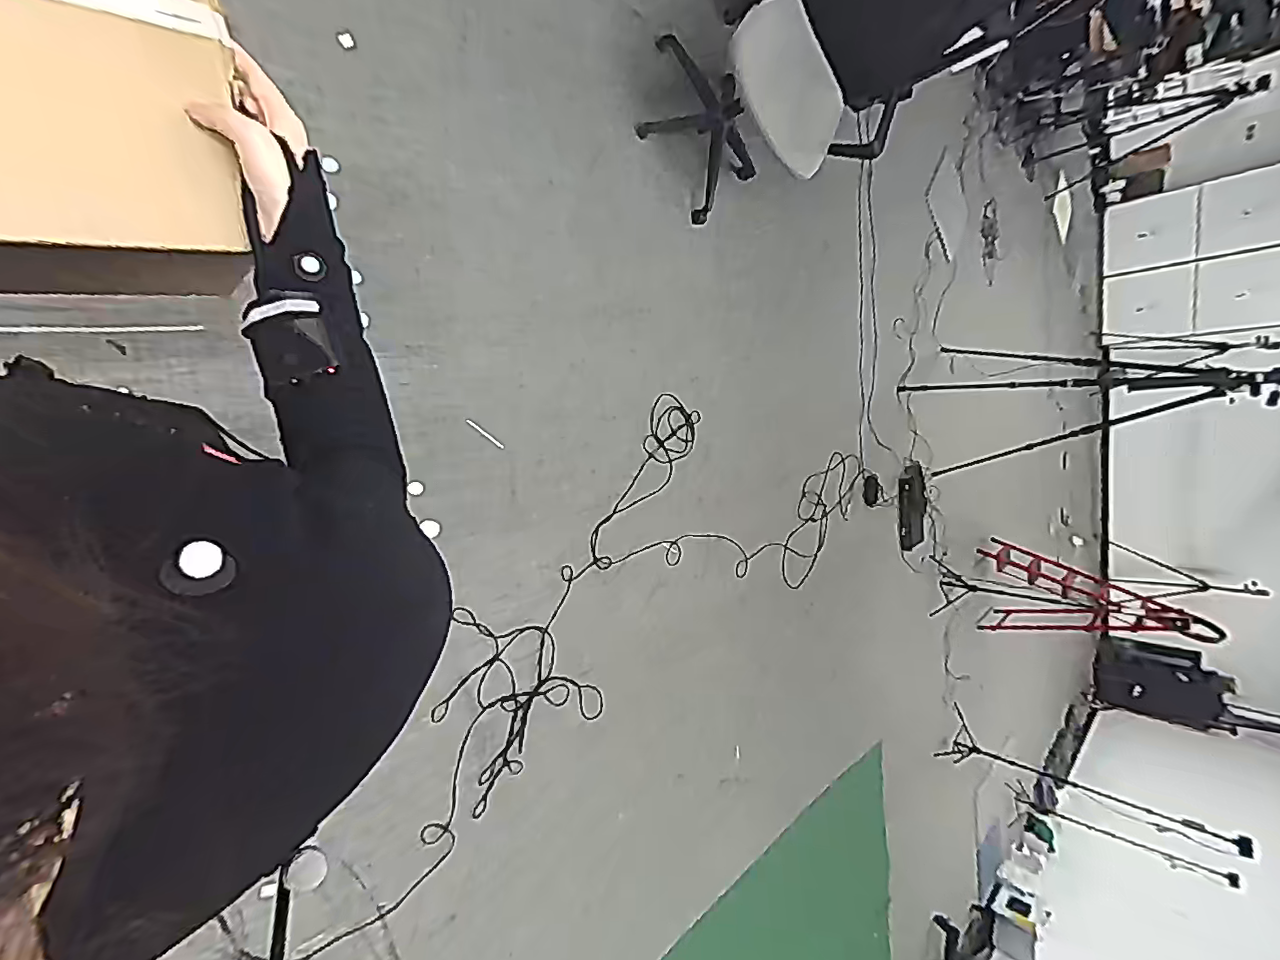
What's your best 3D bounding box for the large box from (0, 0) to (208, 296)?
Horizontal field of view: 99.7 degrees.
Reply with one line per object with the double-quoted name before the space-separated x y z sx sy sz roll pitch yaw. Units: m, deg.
"large box" -0.579 -0.348 0.395 0.408 0.320 0.320 -1 112 -38
